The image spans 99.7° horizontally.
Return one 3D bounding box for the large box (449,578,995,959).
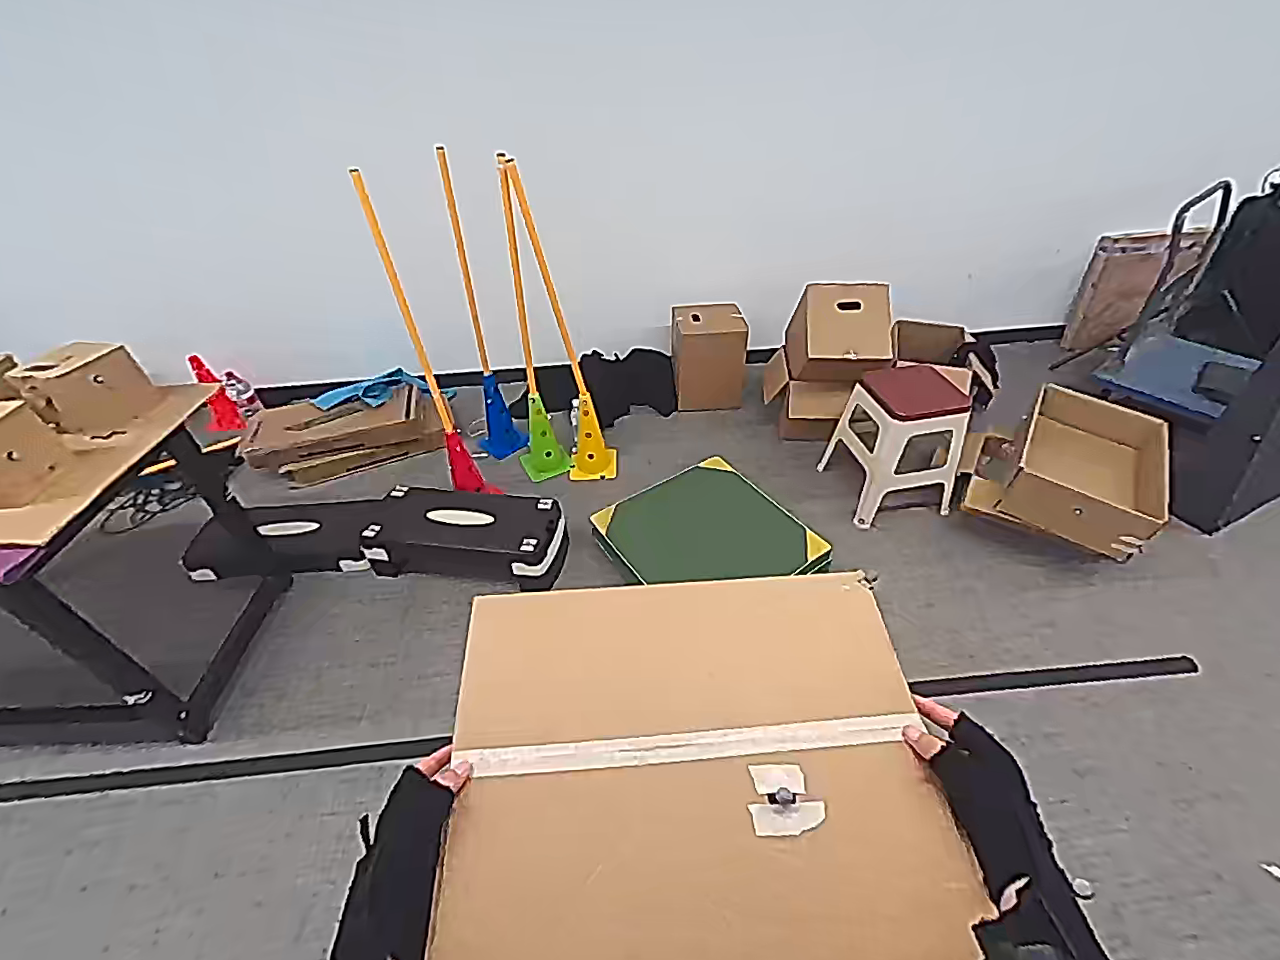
[{"bbox_3d":[0.048,0.330,0.587,0.408,0.320,0.320,-3,50,-3],"label":"large box"}]
